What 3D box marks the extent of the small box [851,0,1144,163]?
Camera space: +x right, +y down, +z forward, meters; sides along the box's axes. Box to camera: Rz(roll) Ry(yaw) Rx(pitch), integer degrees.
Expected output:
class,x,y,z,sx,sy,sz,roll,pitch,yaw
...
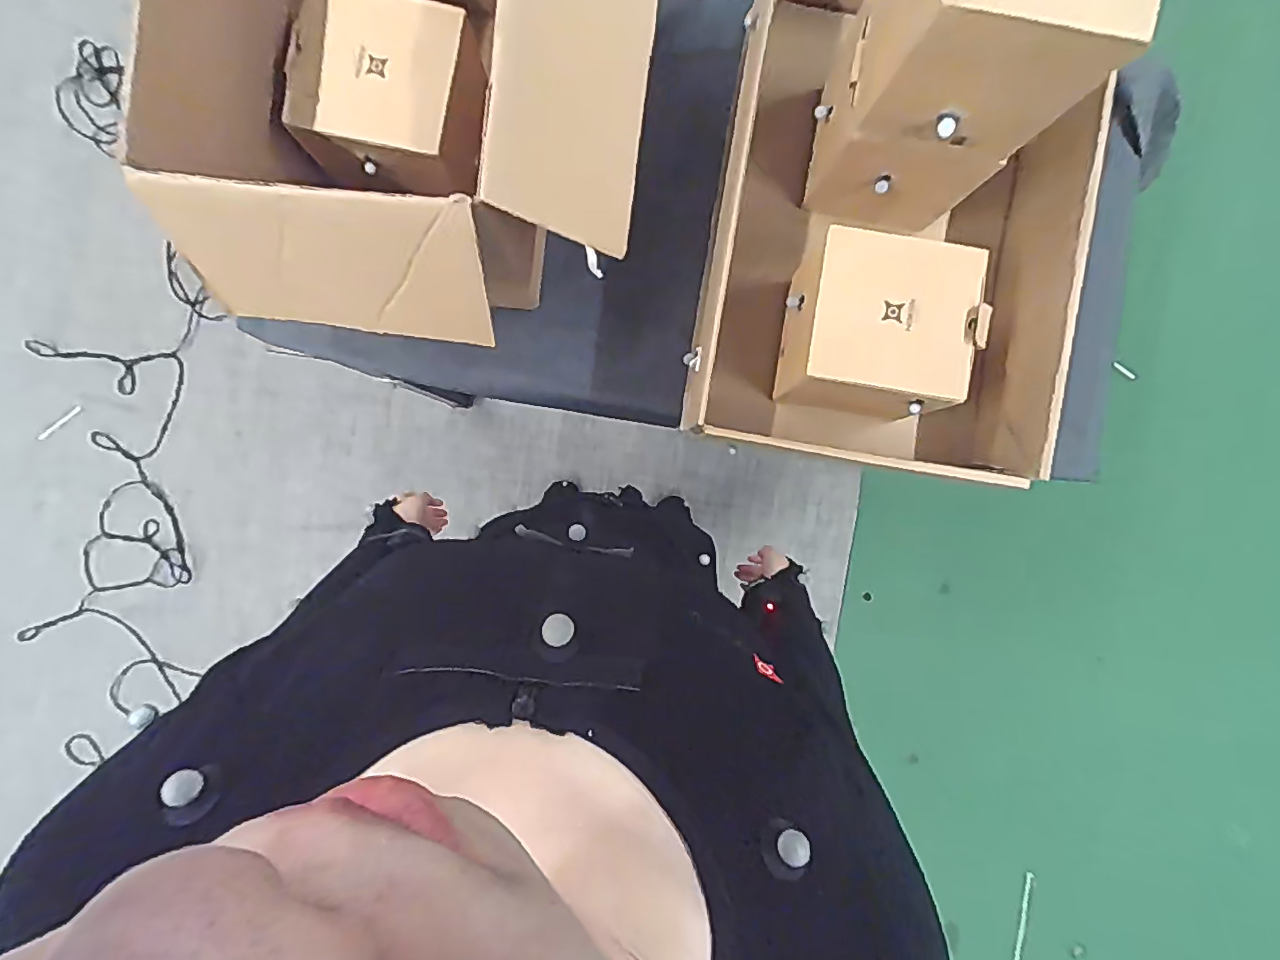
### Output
class,x,y,z,sx,sy,sz,roll,pitch,yaw
small box,0.315,-0.434,0.494,0.168,0.176,0.179,10,93,-2
